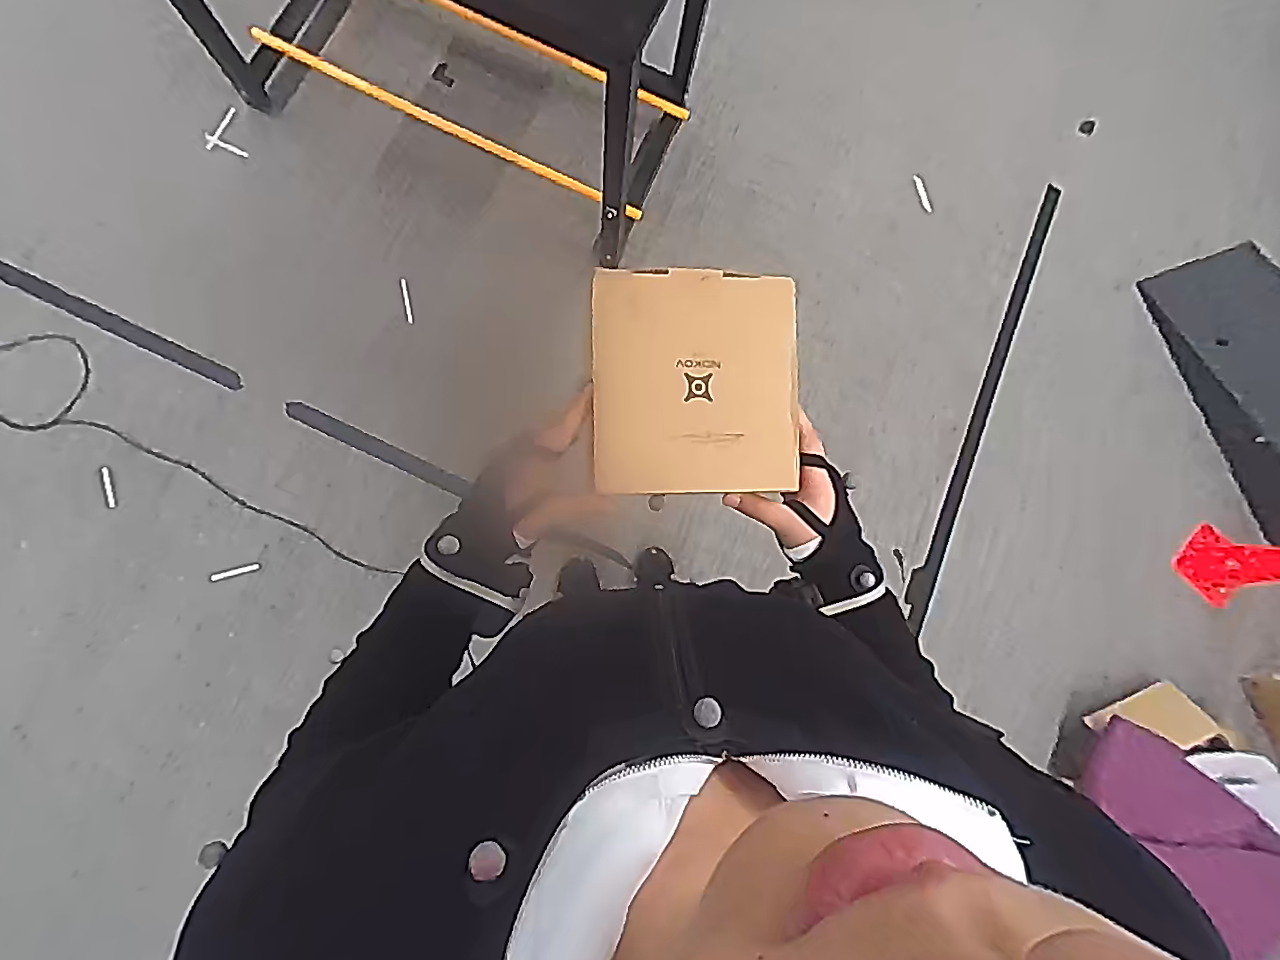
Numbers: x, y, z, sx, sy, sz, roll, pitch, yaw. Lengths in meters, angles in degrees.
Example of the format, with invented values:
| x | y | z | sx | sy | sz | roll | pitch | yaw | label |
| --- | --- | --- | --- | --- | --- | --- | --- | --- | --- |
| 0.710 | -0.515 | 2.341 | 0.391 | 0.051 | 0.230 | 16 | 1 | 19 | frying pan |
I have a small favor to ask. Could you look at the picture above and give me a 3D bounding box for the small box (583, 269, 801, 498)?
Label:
| x | y | z | sx | sy | sz | roll | pitch | yaw | label |
| --- | --- | --- | --- | --- | --- | --- | --- | --- | --- |
| 0.034 | -0.073 | 0.498 | 0.168 | 0.176 | 0.179 | -1 | 89 | -8 | small box |
